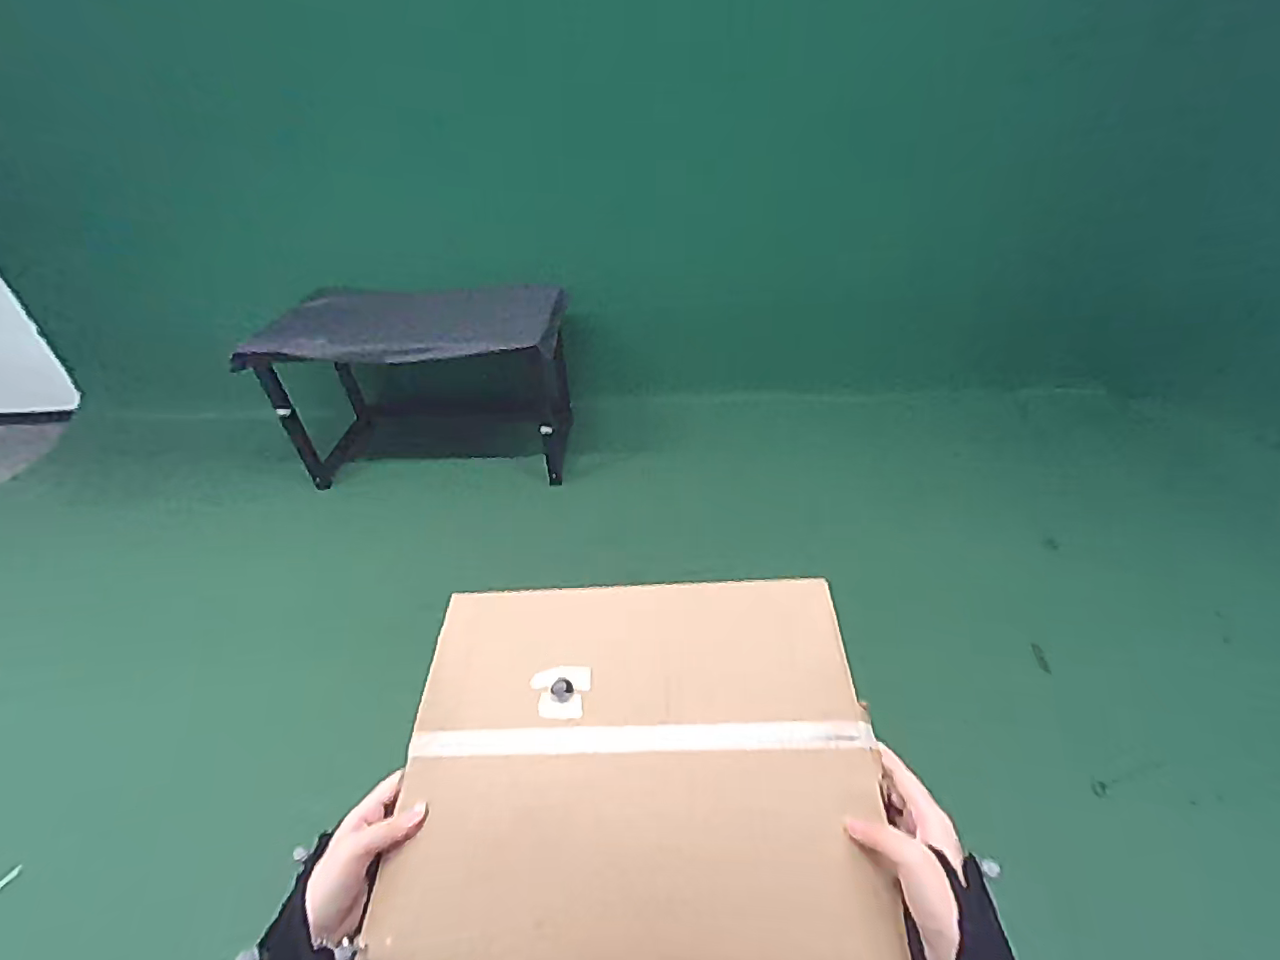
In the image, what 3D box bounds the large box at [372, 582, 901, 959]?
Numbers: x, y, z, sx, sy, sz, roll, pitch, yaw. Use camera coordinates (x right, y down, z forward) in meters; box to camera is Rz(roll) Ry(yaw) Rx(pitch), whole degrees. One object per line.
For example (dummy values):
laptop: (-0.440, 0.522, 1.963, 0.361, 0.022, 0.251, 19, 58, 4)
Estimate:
large box: (0.010, 0.337, 0.604, 0.408, 0.320, 0.320, -5, 47, 6)
